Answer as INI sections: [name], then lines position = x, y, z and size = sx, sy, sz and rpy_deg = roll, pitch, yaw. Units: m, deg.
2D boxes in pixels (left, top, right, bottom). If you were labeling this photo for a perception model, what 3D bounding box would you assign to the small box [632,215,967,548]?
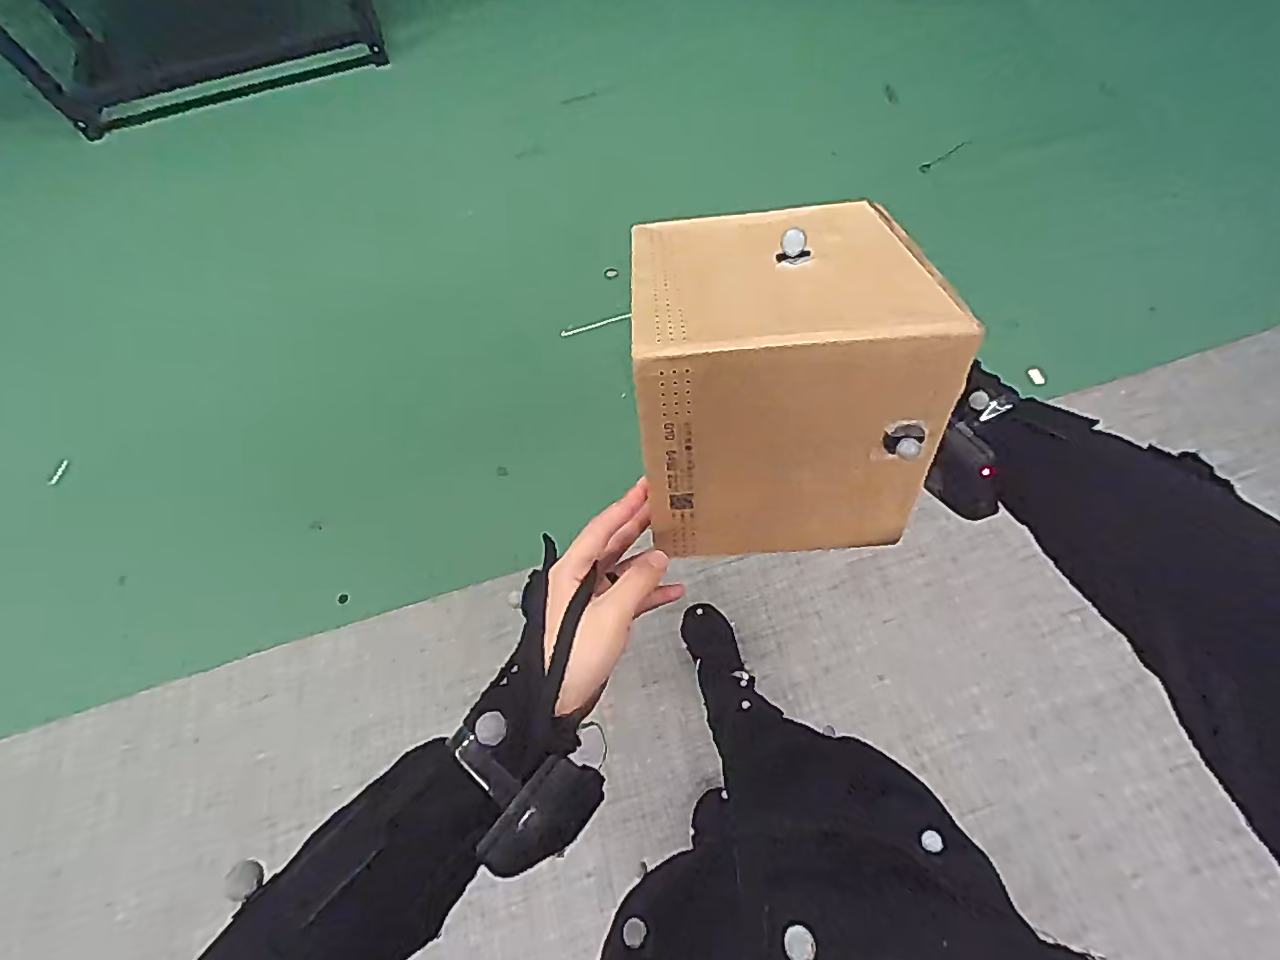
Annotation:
[small box]
position = 0.084, -0.070, 0.386
size = 0.176, 0.168, 0.179
rpy_deg = -5, 45, 3
